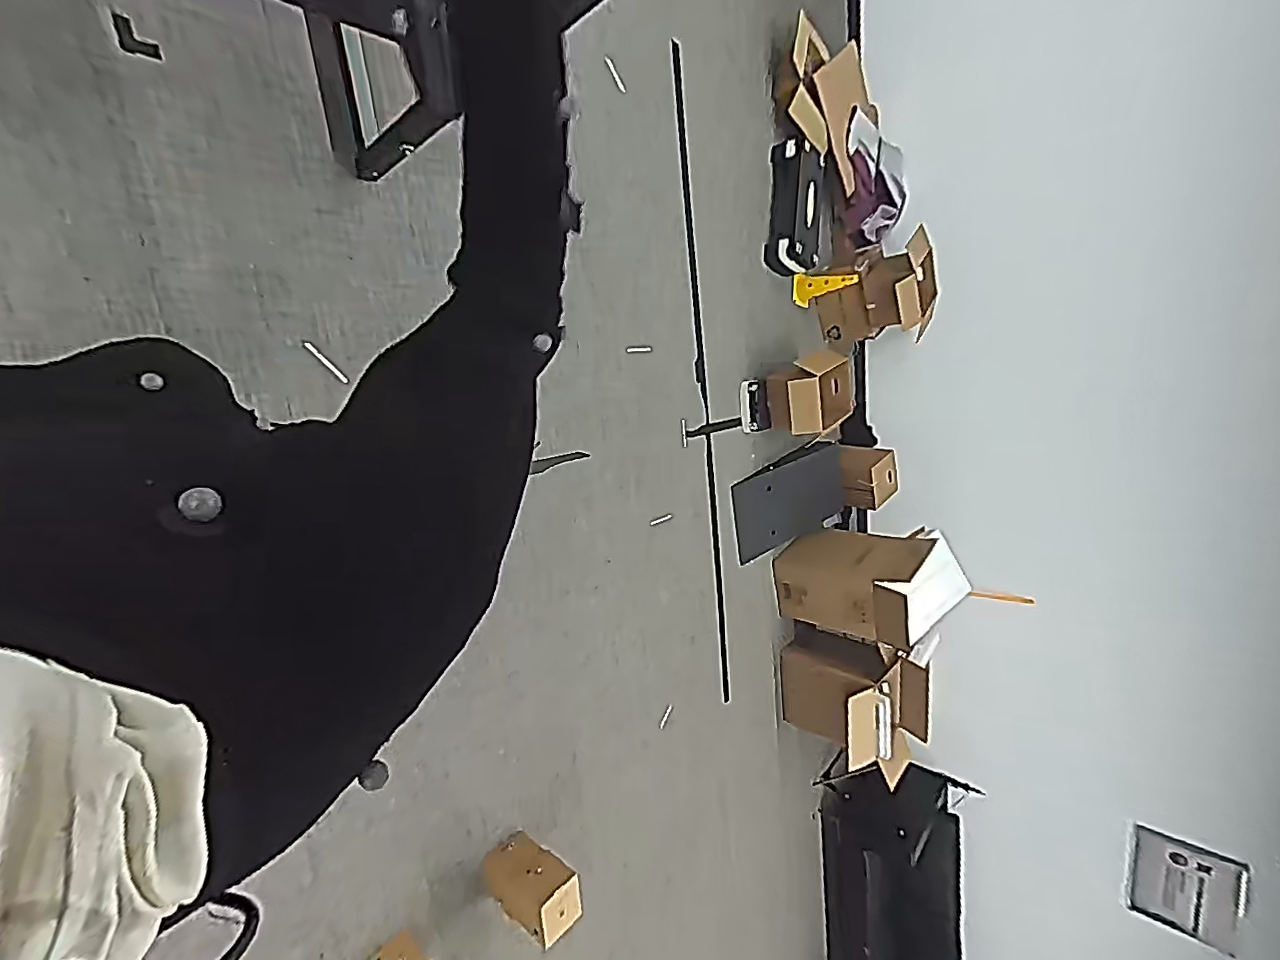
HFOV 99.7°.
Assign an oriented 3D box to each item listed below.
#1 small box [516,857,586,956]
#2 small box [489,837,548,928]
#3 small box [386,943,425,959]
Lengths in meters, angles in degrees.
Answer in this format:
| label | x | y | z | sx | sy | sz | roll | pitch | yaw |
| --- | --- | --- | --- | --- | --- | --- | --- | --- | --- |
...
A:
| label | x | y | z | sx | sy | sz | roll | pitch | yaw |
| --- | --- | --- | --- | --- | --- | --- | --- | --- | --- |
| small box | -0.313 | 1.481 | 1.891 | 0.168 | 0.176 | 0.179 | -16 | 104 | -47 |
| small box | -0.438 | 1.477 | 1.997 | 0.168 | 0.176 | 0.179 | -15 | 105 | -47 |
| small box | -0.742 | 1.604 | 1.680 | 0.168 | 0.176 | 0.179 | -22 | 110 | -44 |
